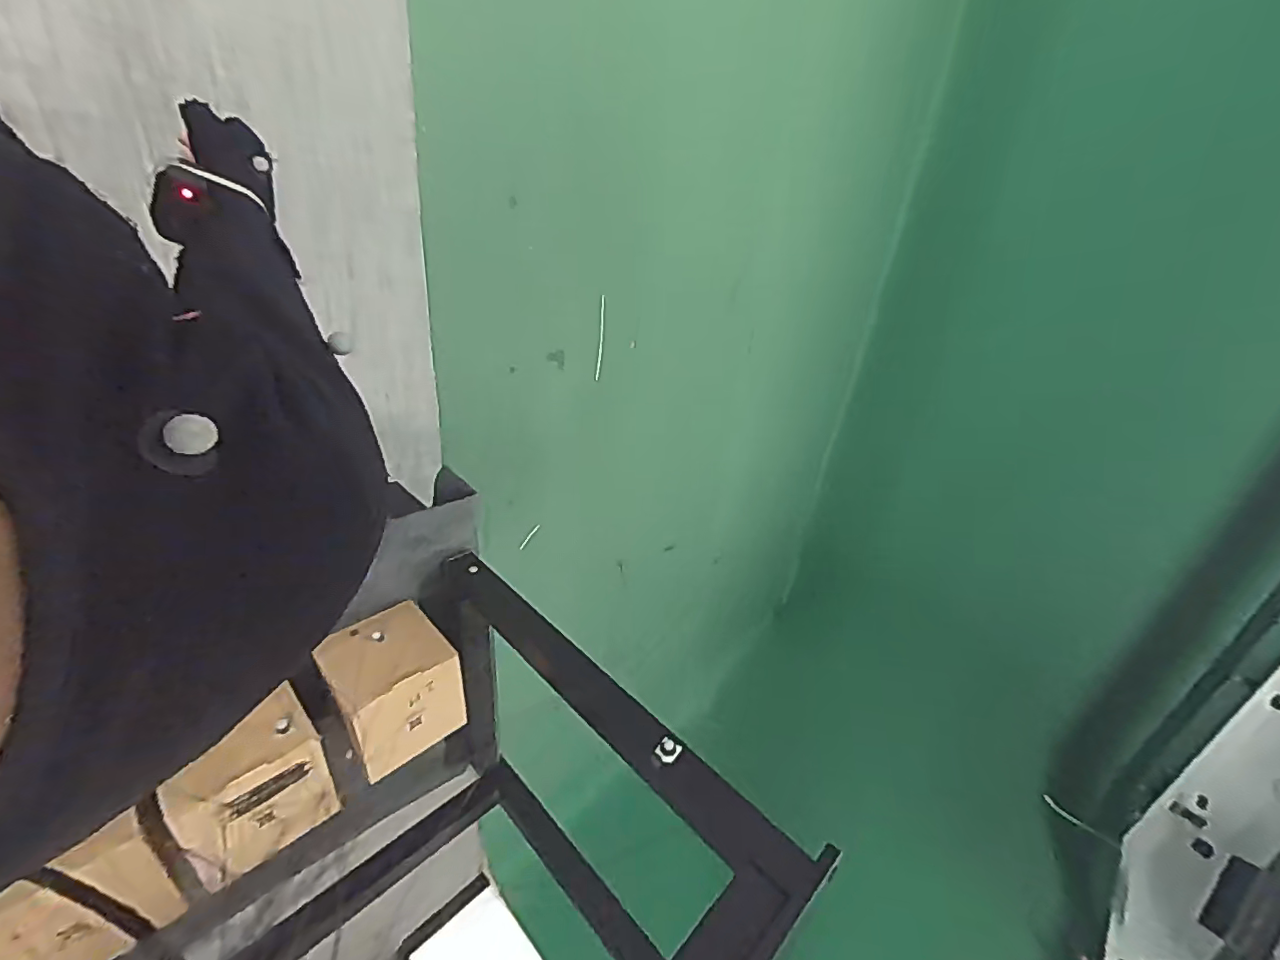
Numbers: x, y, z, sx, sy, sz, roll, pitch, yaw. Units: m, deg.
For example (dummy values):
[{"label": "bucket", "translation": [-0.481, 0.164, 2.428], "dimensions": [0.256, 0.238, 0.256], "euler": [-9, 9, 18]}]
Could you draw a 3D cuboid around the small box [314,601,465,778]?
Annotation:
[{"label": "small box", "translation": [-0.411, 0.336, 0.899], "dimensions": [0.168, 0.176, 0.179], "euler": [-24, 131, -40]}]
